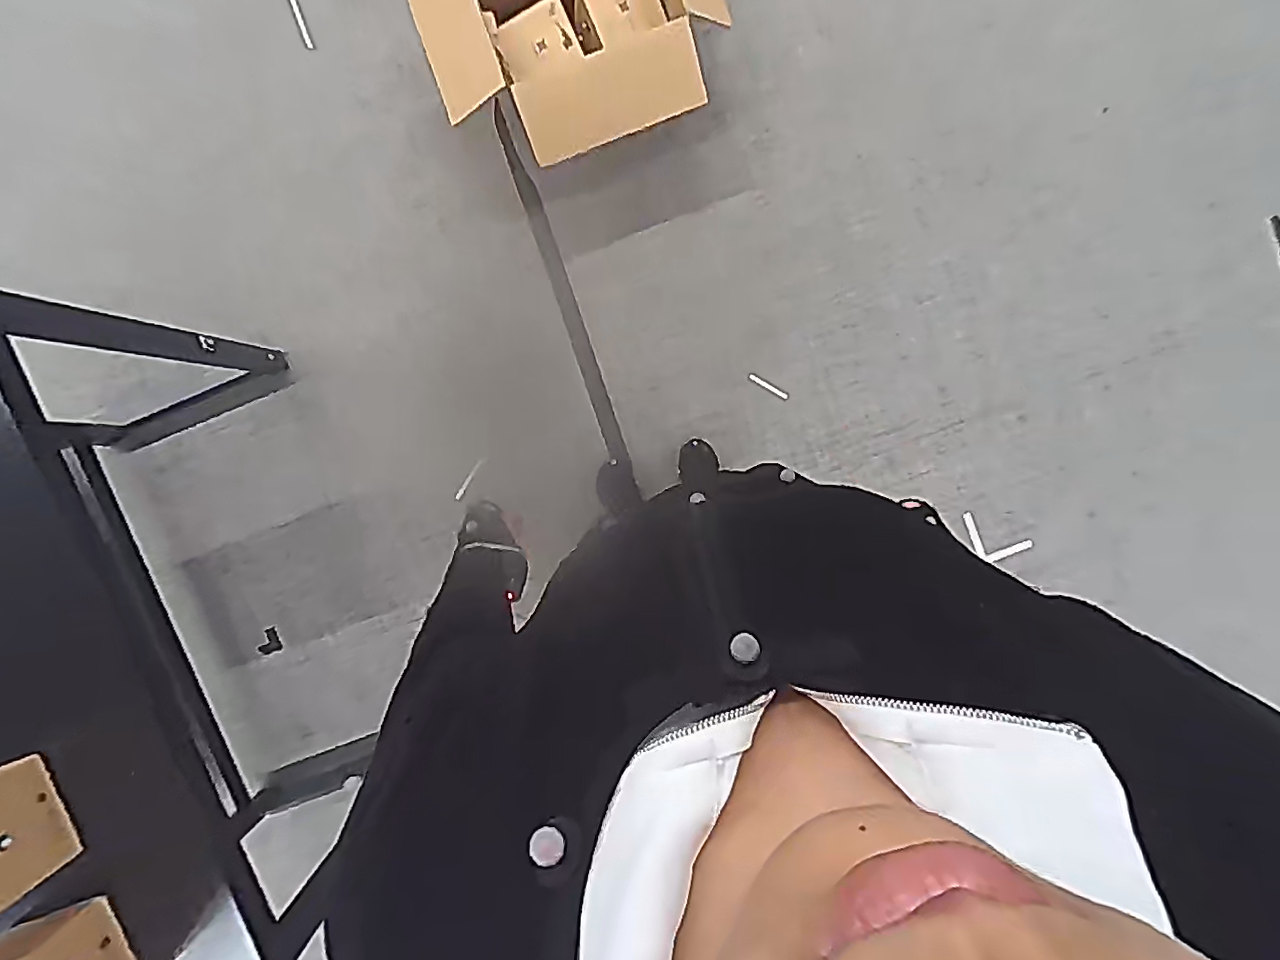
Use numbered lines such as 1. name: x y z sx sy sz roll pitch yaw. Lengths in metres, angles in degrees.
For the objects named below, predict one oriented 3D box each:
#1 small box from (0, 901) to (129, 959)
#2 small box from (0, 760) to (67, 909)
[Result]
1. small box: -0.872 0.745 0.757 0.179 0.176 0.168 -21 93 4
2. small box: -0.954 0.520 0.737 0.179 0.176 0.168 -20 94 3
